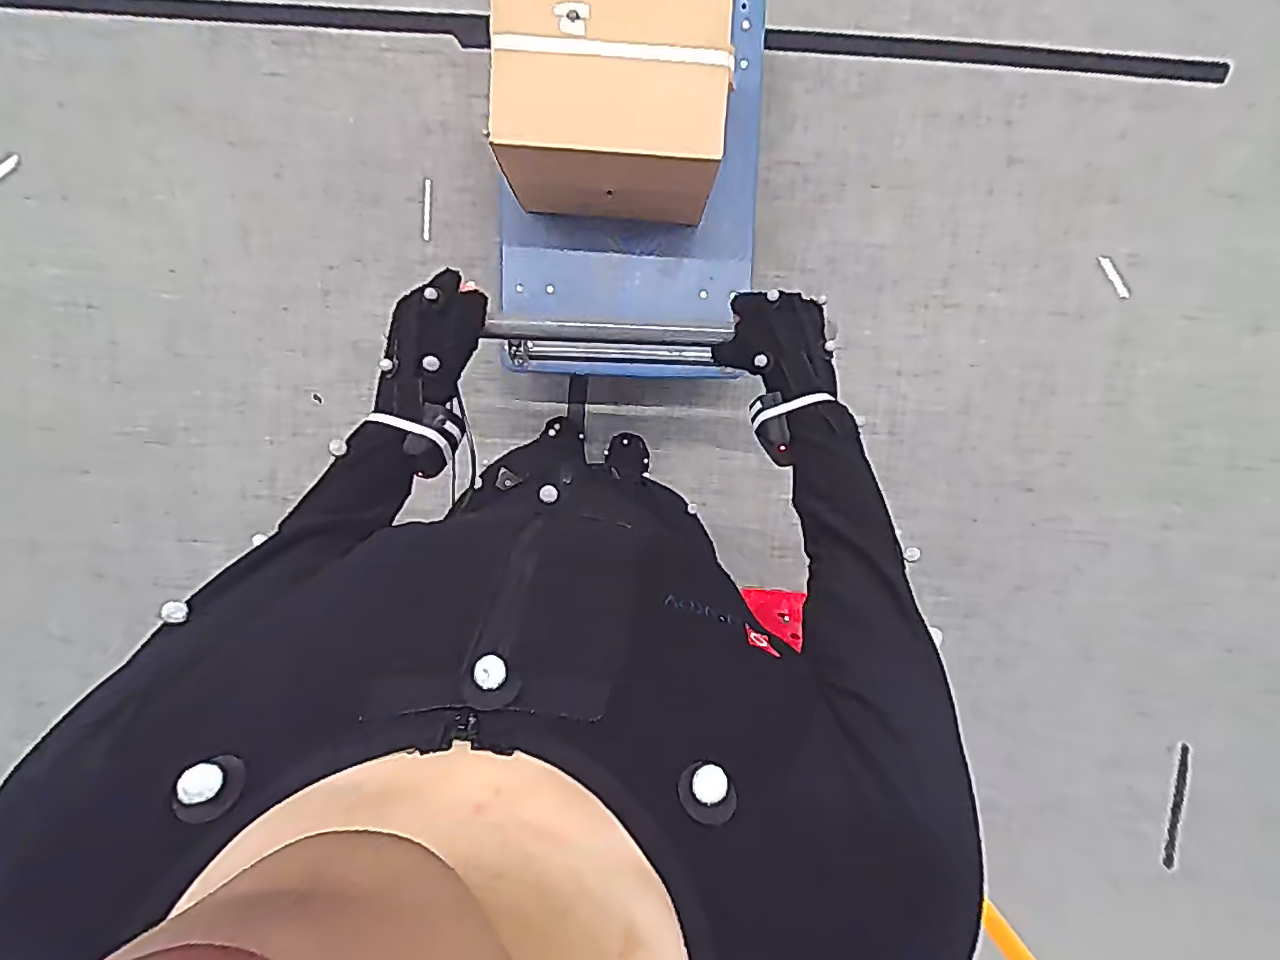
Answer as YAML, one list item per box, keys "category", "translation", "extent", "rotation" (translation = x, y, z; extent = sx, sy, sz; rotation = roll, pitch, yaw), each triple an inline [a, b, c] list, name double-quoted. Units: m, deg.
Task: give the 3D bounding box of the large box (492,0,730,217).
- category: "large box"
  translation: [-0.049, -0.734, 1.064]
  extent: [0.408, 0.320, 0.320]
  rotation: [3, 96, 0]

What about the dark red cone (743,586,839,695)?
- category: "dark red cone"
  translation: [0.389, 0.412, 1.318]
  extent: [0.201, 0.394, 0.202]
  rotation: [3, 96, -3]
